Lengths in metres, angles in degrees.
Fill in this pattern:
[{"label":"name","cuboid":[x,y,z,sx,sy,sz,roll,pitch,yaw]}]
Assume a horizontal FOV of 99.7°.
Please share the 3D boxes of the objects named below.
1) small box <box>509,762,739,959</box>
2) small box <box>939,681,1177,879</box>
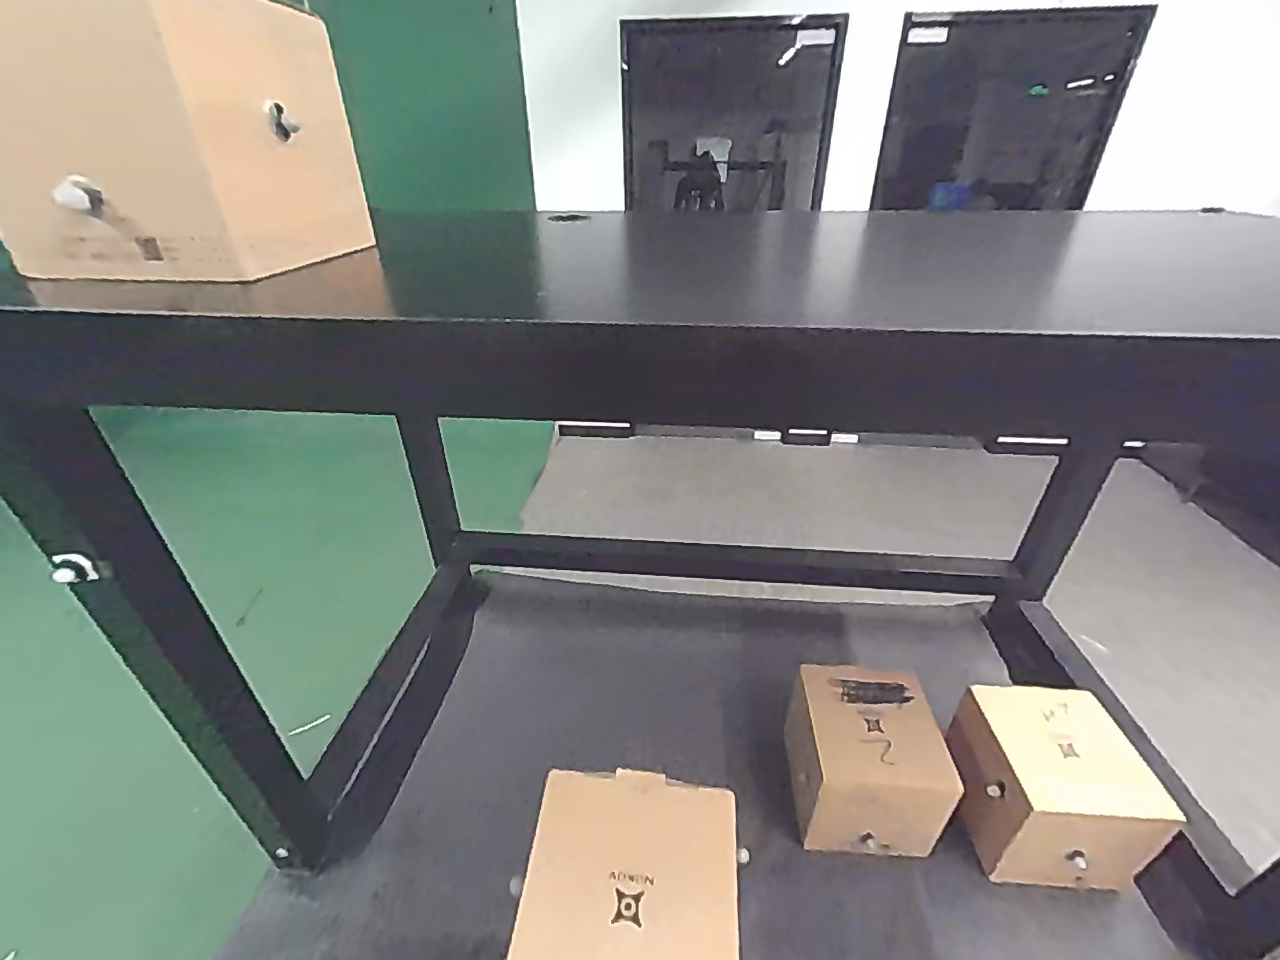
[{"label":"small box","cuboid":[-0.007,0.374,0.464,0.168,0.176,0.179,4,39,3]},{"label":"small box","cuboid":[0.536,0.401,0.728,0.168,0.176,0.179,2,31,3]}]
